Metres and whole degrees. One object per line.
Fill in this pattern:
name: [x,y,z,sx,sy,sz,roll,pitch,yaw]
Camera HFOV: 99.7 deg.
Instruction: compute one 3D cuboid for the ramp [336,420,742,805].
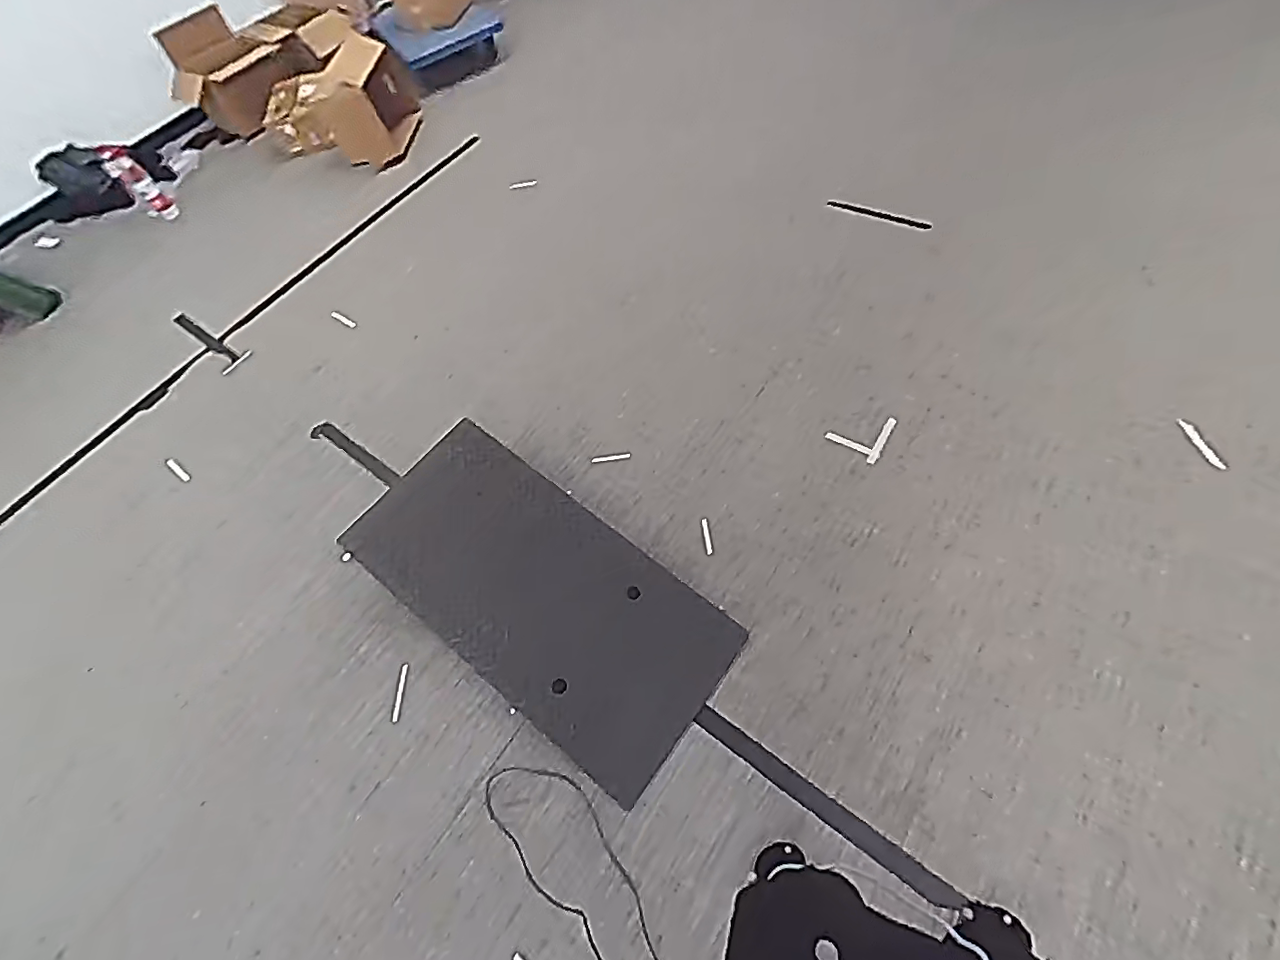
ramp: [-0.274,0.275,1.400,0.991,0.206,0.509,30,69,23]
